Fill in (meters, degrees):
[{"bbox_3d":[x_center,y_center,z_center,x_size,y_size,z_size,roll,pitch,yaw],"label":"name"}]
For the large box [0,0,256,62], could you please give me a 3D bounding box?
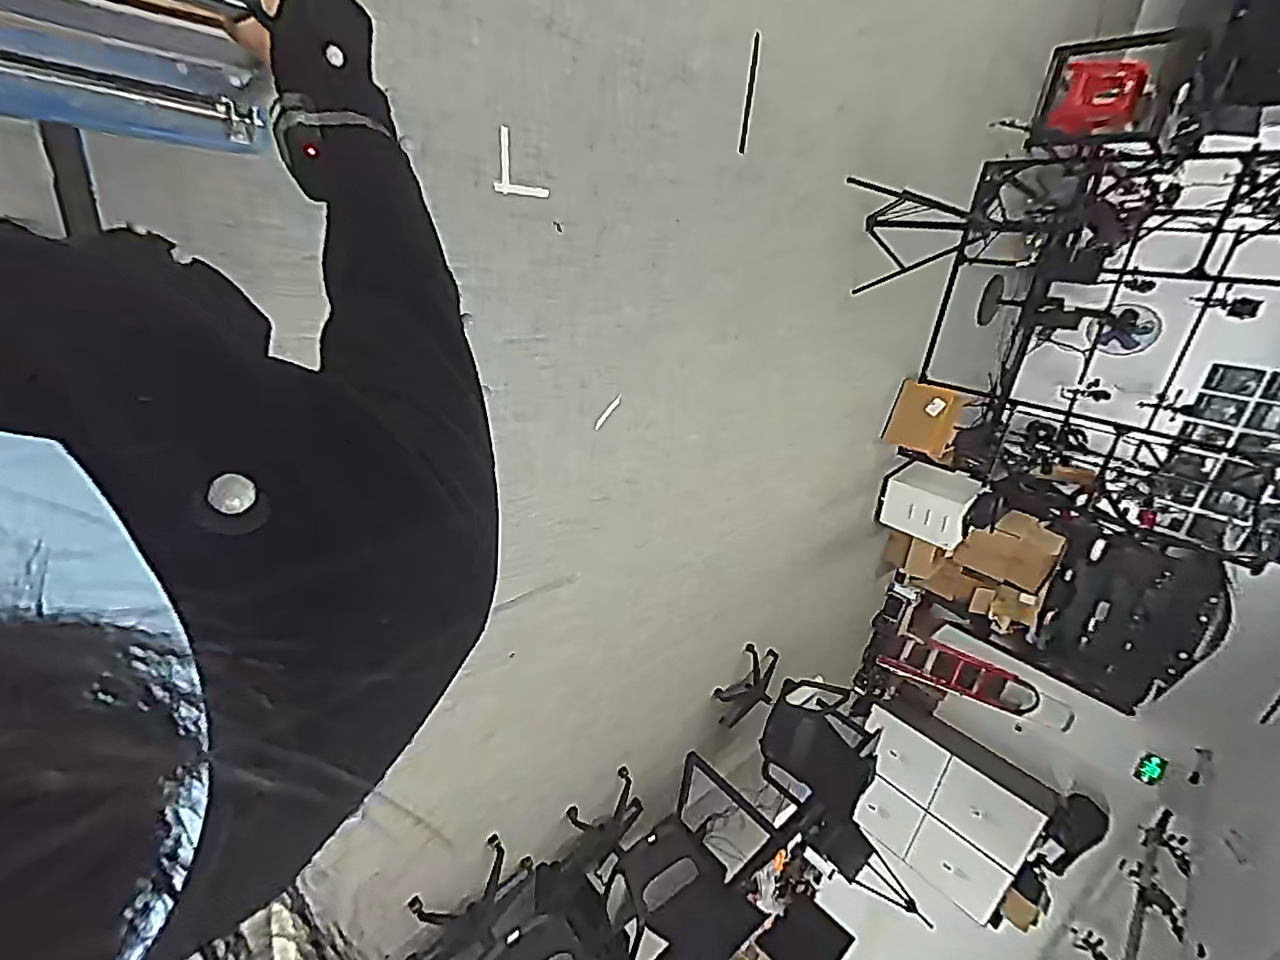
[{"bbox_3d":[-0.755,-0.745,0.634,0.408,0.320,0.320,-19,124,-40],"label":"large box"}]
